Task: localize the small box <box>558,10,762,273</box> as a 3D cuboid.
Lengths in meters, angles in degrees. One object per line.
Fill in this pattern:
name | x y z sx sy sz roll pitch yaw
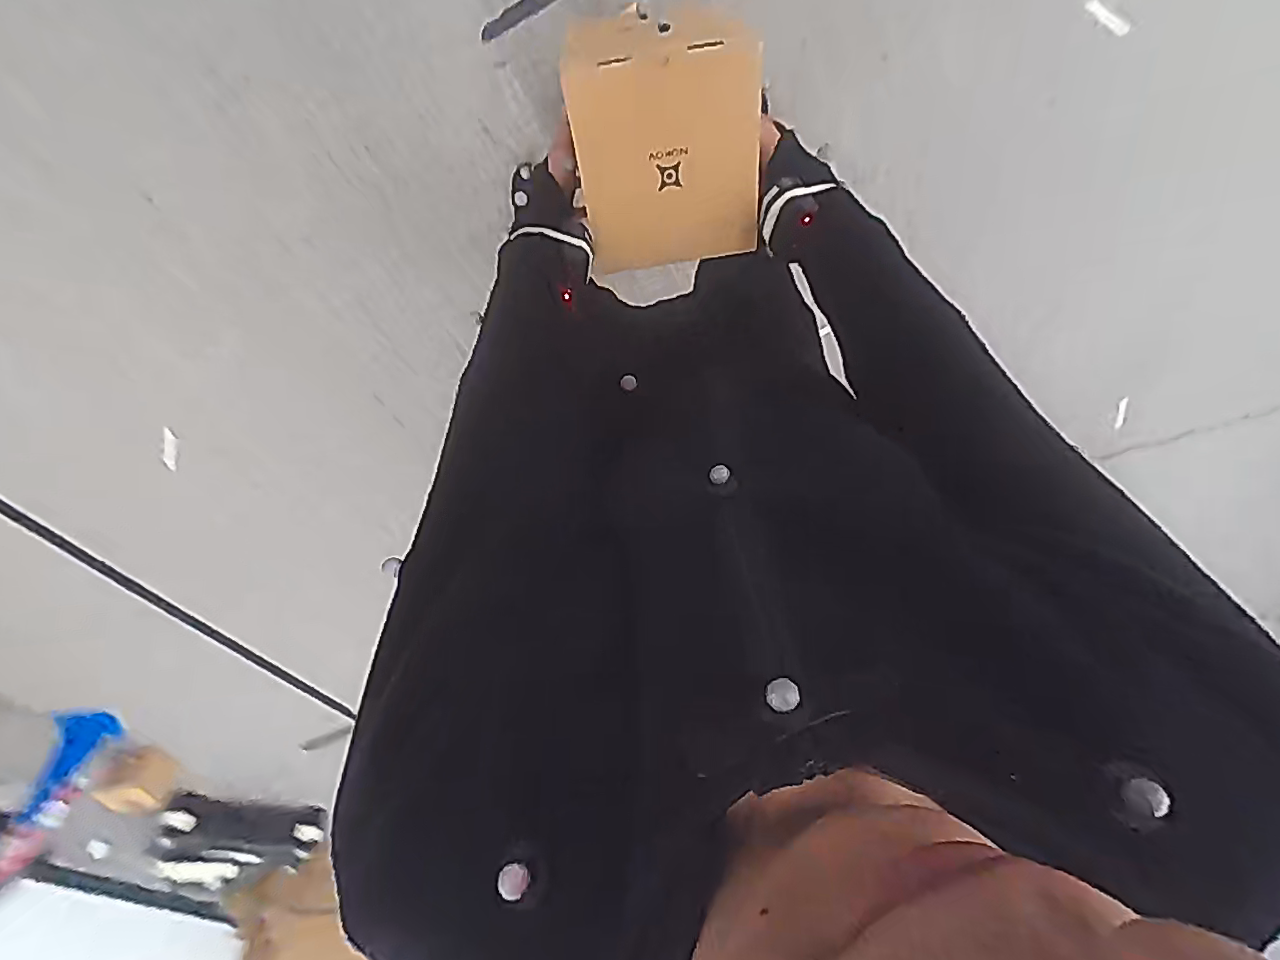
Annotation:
small box | 0.020 -0.339 0.544 0.168 0.176 0.179 -9 135 2
